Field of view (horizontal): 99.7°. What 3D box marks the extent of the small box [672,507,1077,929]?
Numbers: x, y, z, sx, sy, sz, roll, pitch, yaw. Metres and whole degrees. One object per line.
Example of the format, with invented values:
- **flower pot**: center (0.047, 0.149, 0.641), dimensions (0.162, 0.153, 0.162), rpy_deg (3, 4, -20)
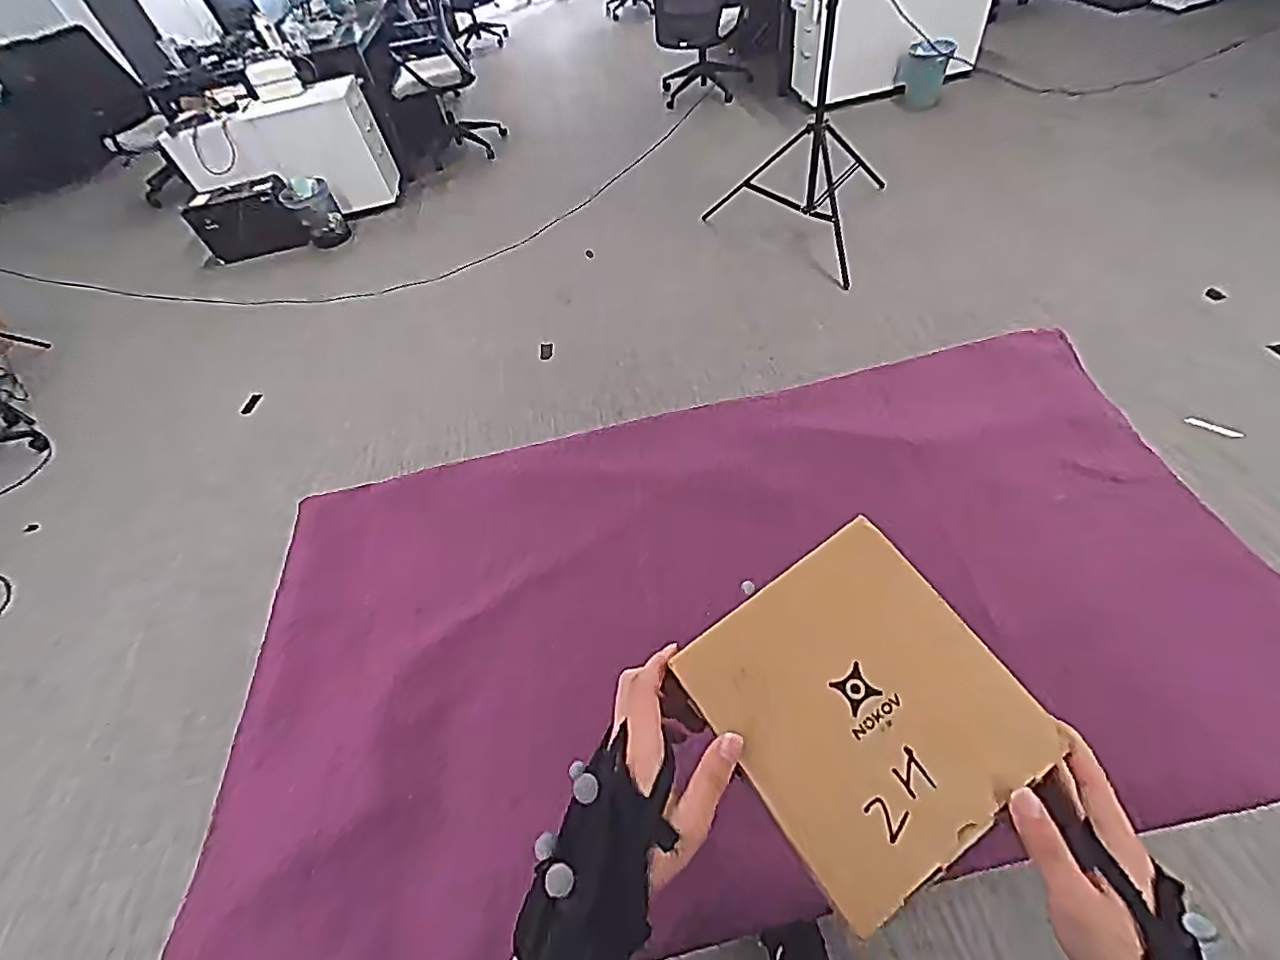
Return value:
- **small box**: center (0.136, 0.153, 0.392), dimensions (0.168, 0.176, 0.179), rpy_deg (-35, 72, -8)
